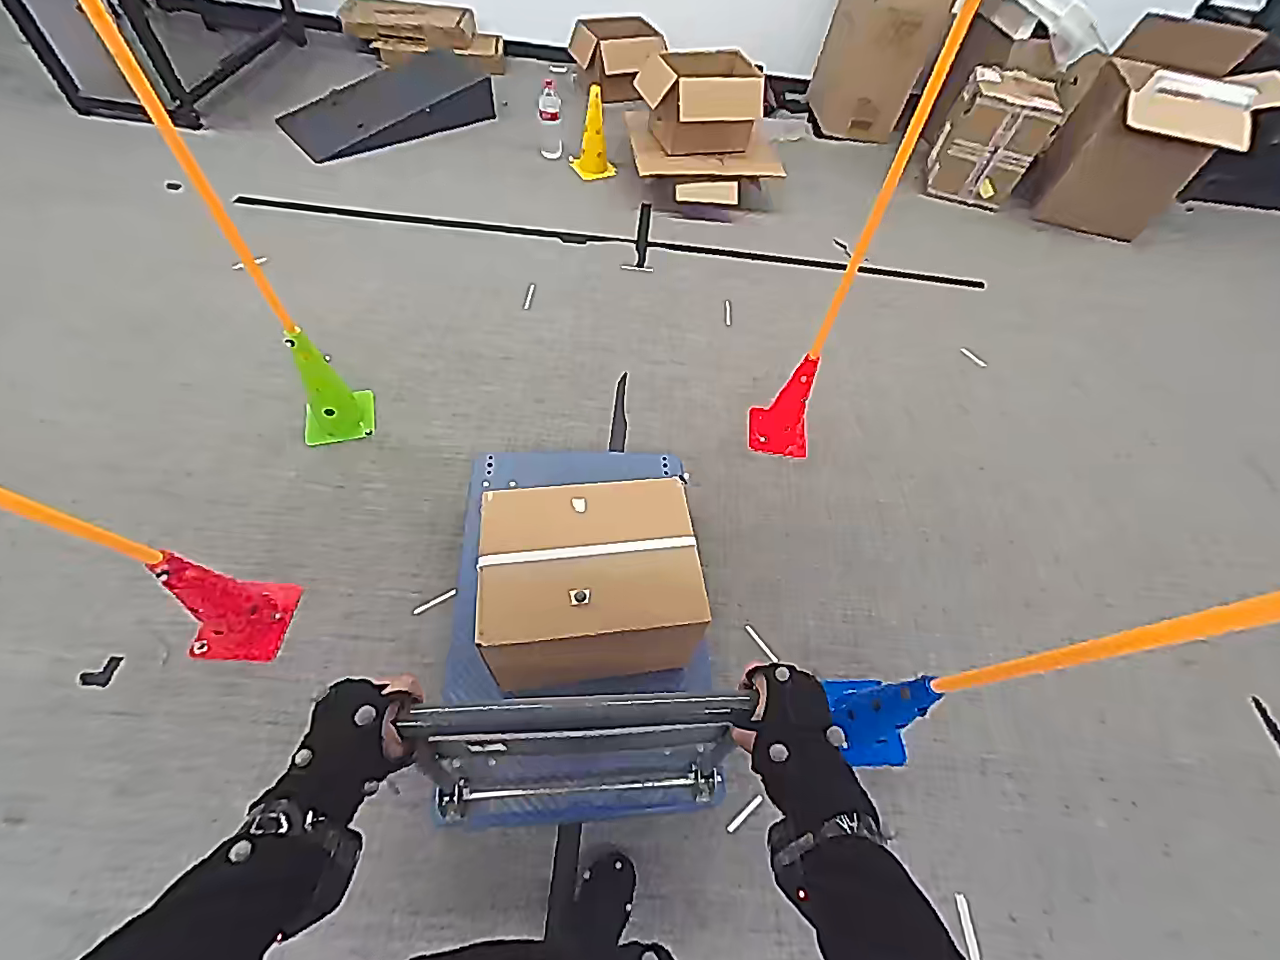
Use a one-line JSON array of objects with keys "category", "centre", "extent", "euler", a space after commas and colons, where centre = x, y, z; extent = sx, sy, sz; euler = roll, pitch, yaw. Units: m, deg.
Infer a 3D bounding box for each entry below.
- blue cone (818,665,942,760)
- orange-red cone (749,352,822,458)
[{"category": "blue cone", "centre": [0.567, 0.499, 1.215], "extent": [0.193, 0.380, 0.192], "euler": [3, 54, -5]}, {"category": "orange-red cone", "centre": [0.495, -0.263, 1.709], "extent": [0.199, 0.360, 0.198], "euler": [12, 56, 0]}]
